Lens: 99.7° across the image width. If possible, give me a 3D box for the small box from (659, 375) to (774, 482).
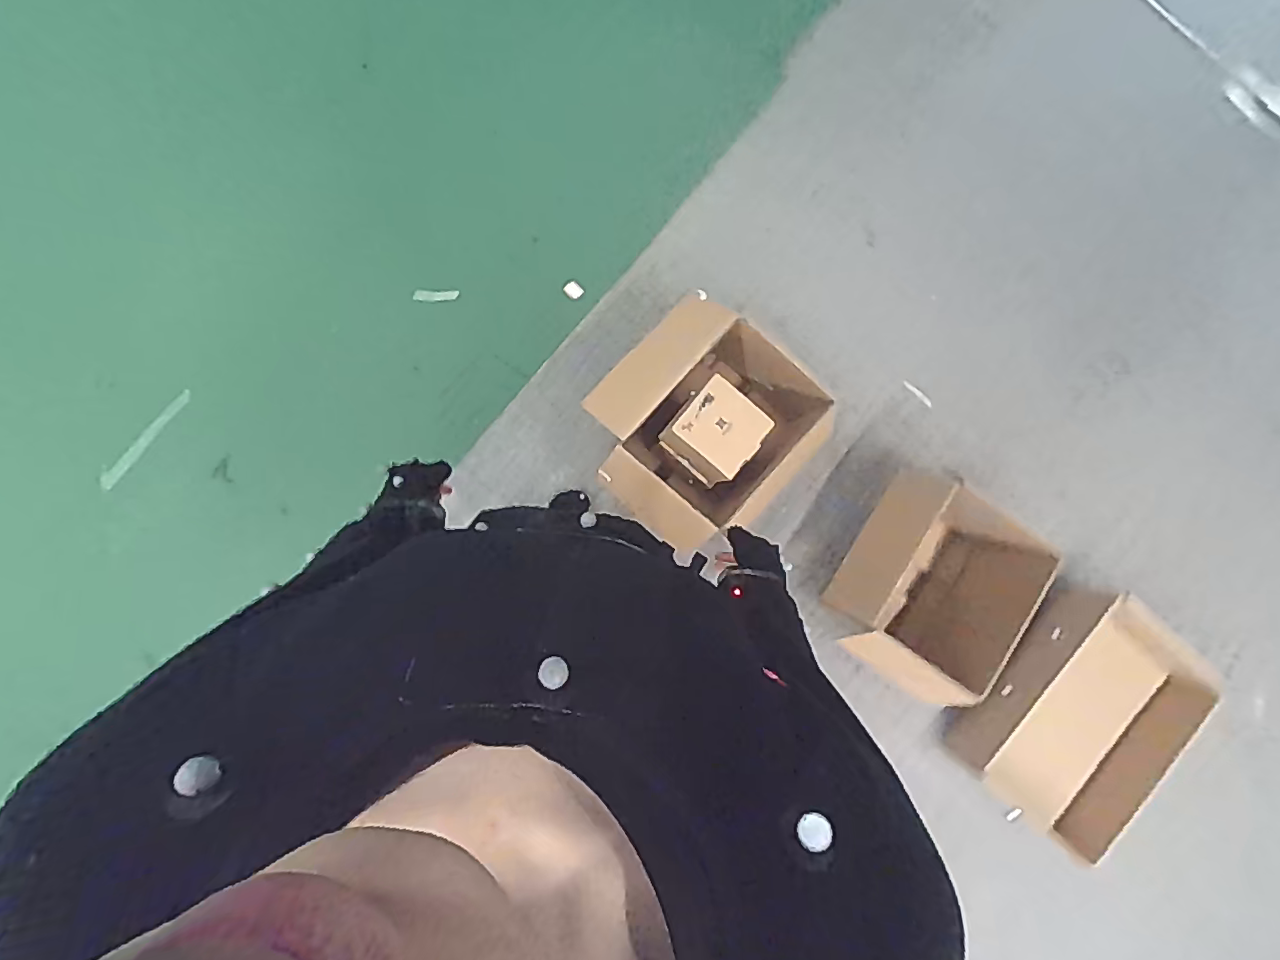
[{"bbox_3d":[0.170,-0.113,1.252,0.179,0.176,0.168,42,83,-6],"label":"small box"}]
